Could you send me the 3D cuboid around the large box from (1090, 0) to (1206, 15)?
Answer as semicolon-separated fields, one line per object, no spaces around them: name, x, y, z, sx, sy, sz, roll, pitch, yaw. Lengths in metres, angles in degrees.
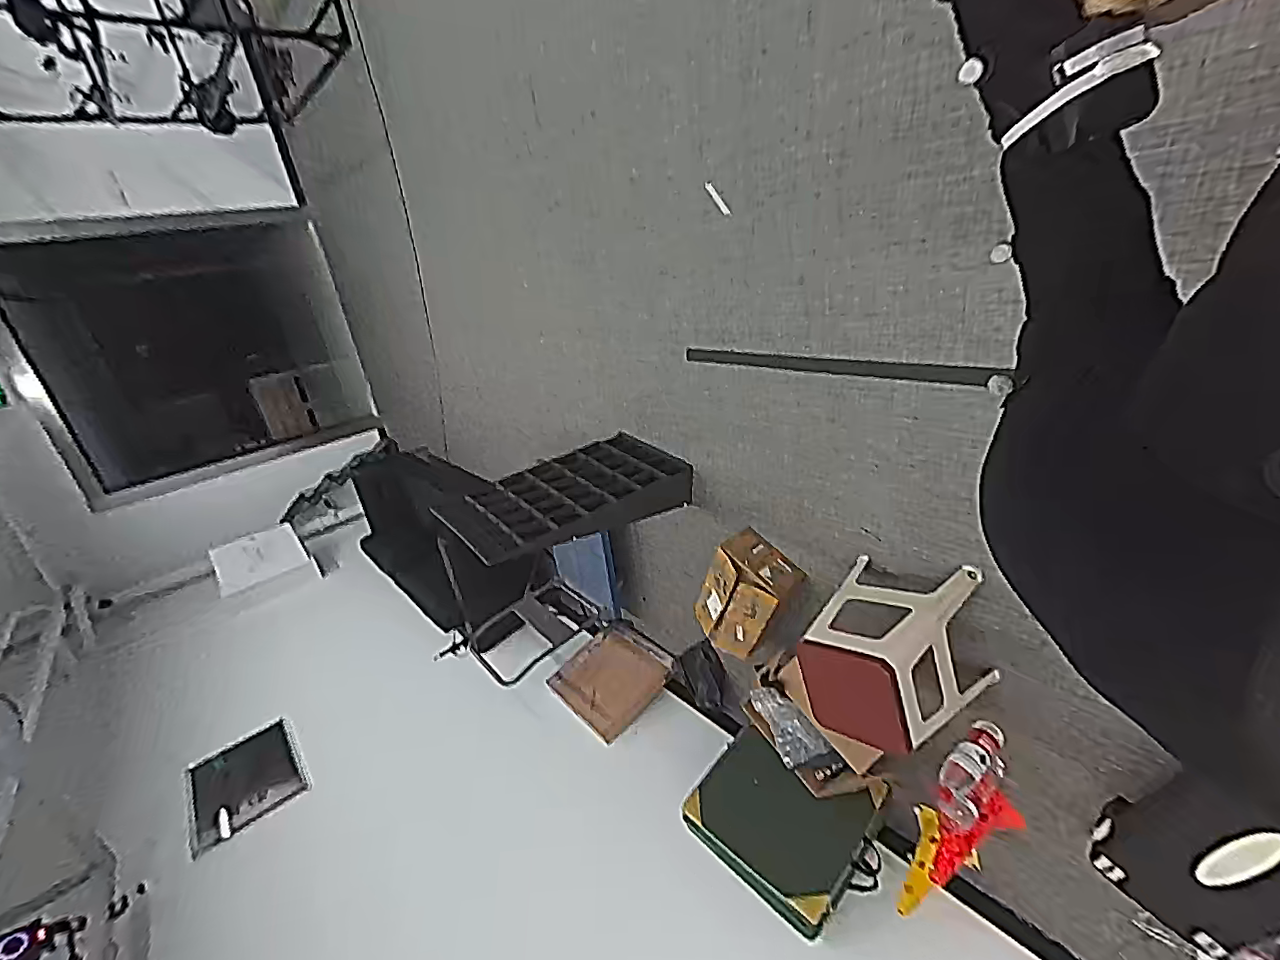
large box;0.468;-0.528;0.254;0.408;0.320;0.320;-3;116;55
